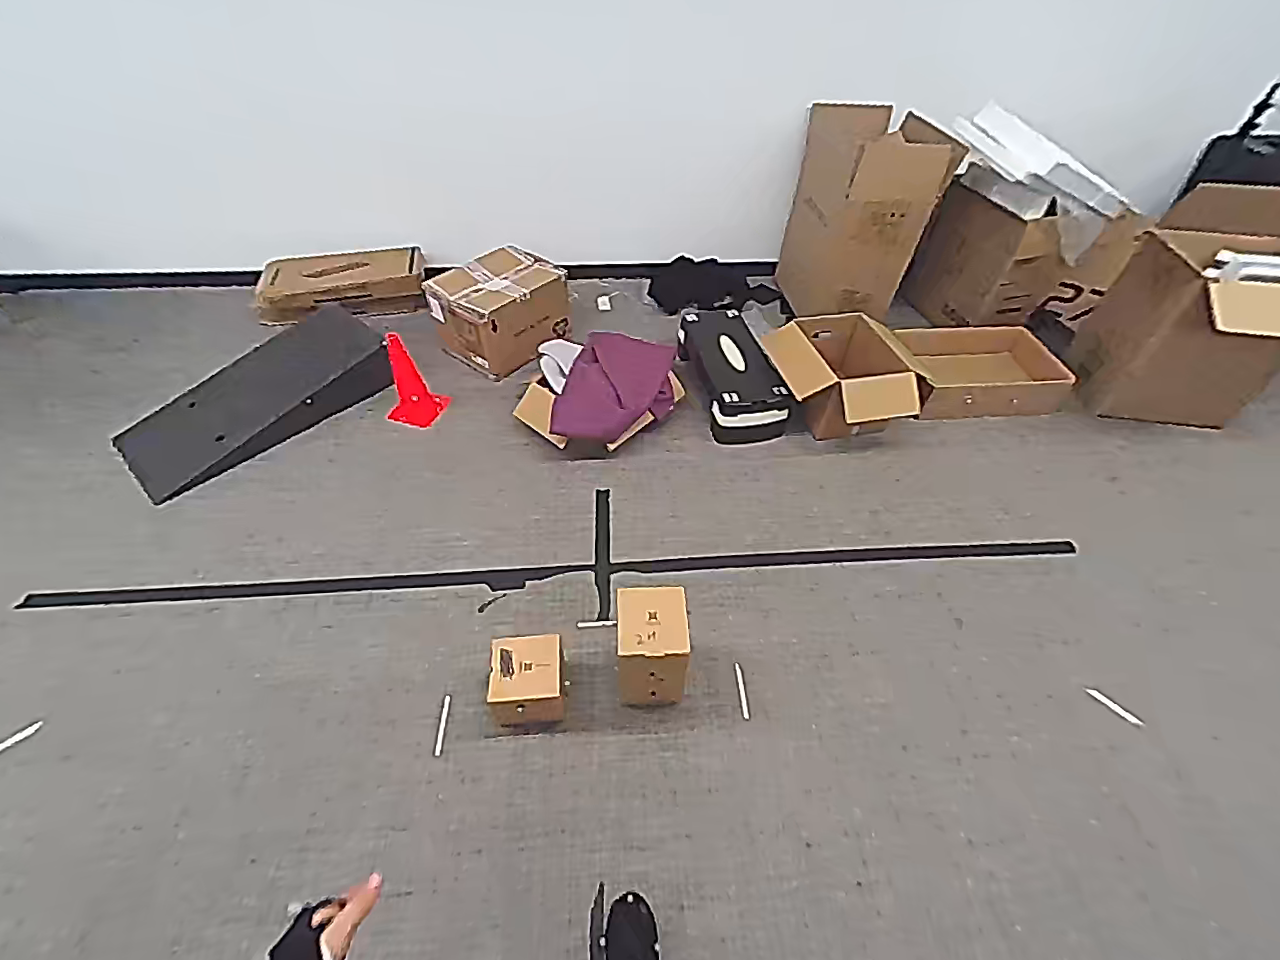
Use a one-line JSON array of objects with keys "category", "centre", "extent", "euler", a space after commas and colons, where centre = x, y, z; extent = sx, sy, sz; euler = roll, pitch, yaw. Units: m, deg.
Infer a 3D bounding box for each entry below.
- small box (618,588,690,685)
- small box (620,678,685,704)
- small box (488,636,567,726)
[{"category": "small box", "centre": [0.028, 0.384, 1.328], "extent": [0.168, 0.176, 0.179], "euler": [-1, 48, -2]}, {"category": "small box", "centre": [0.029, 0.491, 1.456], "extent": [0.168, 0.176, 0.179], "euler": [-3, 48, -3]}, {"category": "small box", "centre": [-0.287, 0.528, 1.414], "extent": [0.179, 0.176, 0.168], "euler": [-3, 48, -4]}]
